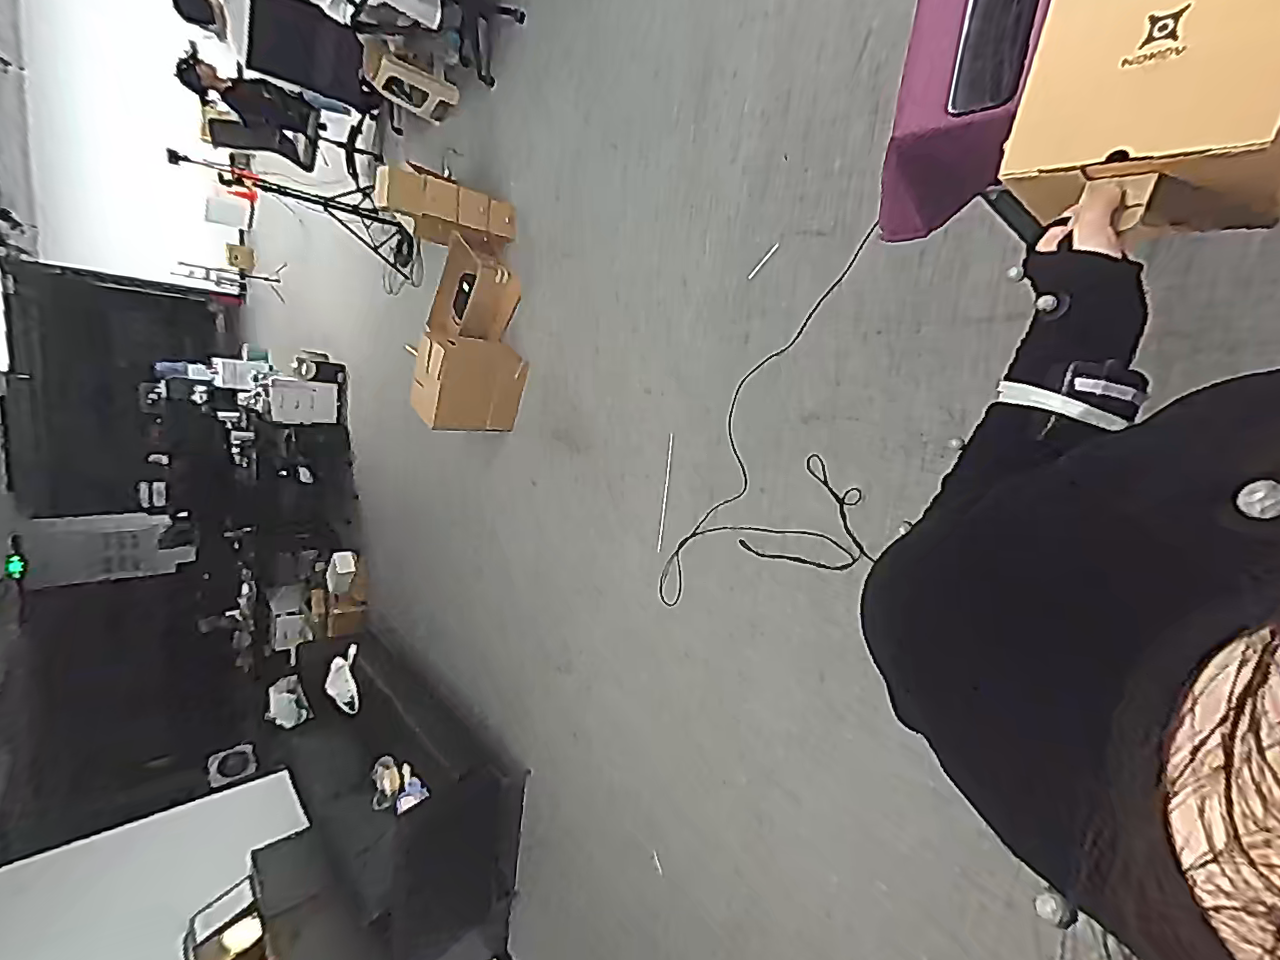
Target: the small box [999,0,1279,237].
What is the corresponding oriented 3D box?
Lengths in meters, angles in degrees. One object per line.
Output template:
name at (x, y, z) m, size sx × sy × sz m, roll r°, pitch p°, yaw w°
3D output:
small box at (0.440, -0.320, 0.448) m, size 0.168 × 0.176 × 0.179 m, roll 25°, pitch 109°, yaw 47°
